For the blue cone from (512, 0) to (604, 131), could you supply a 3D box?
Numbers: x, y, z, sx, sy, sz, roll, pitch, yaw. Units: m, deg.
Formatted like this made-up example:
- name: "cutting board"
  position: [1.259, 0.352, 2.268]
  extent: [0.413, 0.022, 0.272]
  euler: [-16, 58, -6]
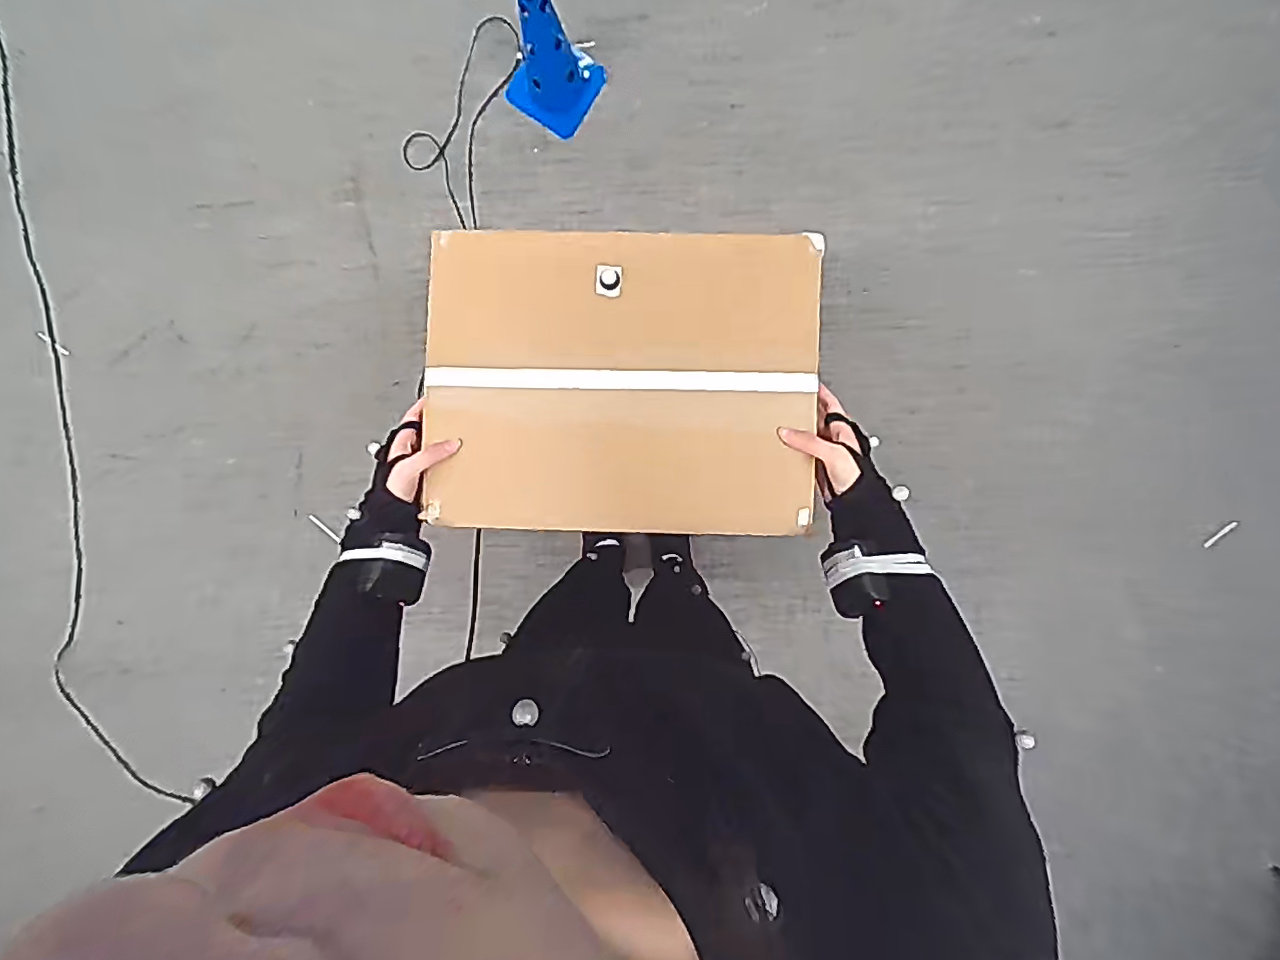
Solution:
- name: "blue cone"
  position: [-0.204, -0.972, 1.171]
  extent: [0.192, 0.380, 0.193]
  euler: [31, 94, -3]
